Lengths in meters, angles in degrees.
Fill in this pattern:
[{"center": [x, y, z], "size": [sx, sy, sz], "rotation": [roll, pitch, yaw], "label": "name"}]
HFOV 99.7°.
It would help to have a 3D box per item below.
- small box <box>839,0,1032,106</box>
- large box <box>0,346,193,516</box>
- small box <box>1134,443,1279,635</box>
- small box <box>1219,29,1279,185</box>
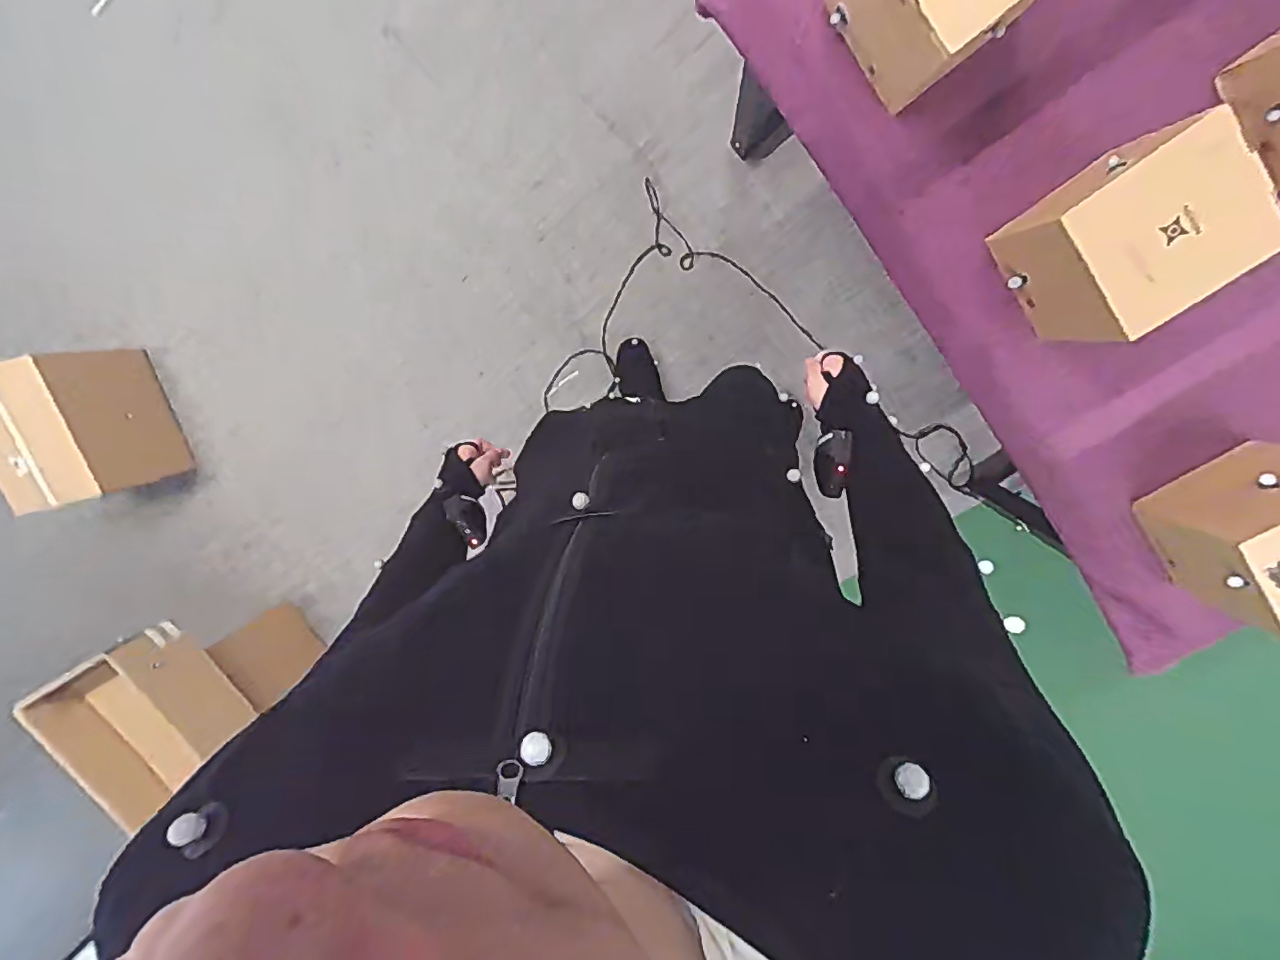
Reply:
[{"center": [0.340, -0.563, 0.591], "size": [0.179, 0.176, 0.168], "rotation": [-36, 100, 13], "label": "small box"}, {"center": [-1.674, -0.157, 1.610], "size": [0.320, 0.320, 0.408], "rotation": [-12, 106, 10], "label": "large box"}, {"center": [0.840, 0.070, 0.724], "size": [0.179, 0.176, 0.168], "rotation": [-35, 99, 12], "label": "small box"}, {"center": [0.811, -0.457, 0.578], "size": [0.179, 0.176, 0.168], "rotation": [-36, 100, 15], "label": "small box"}]
